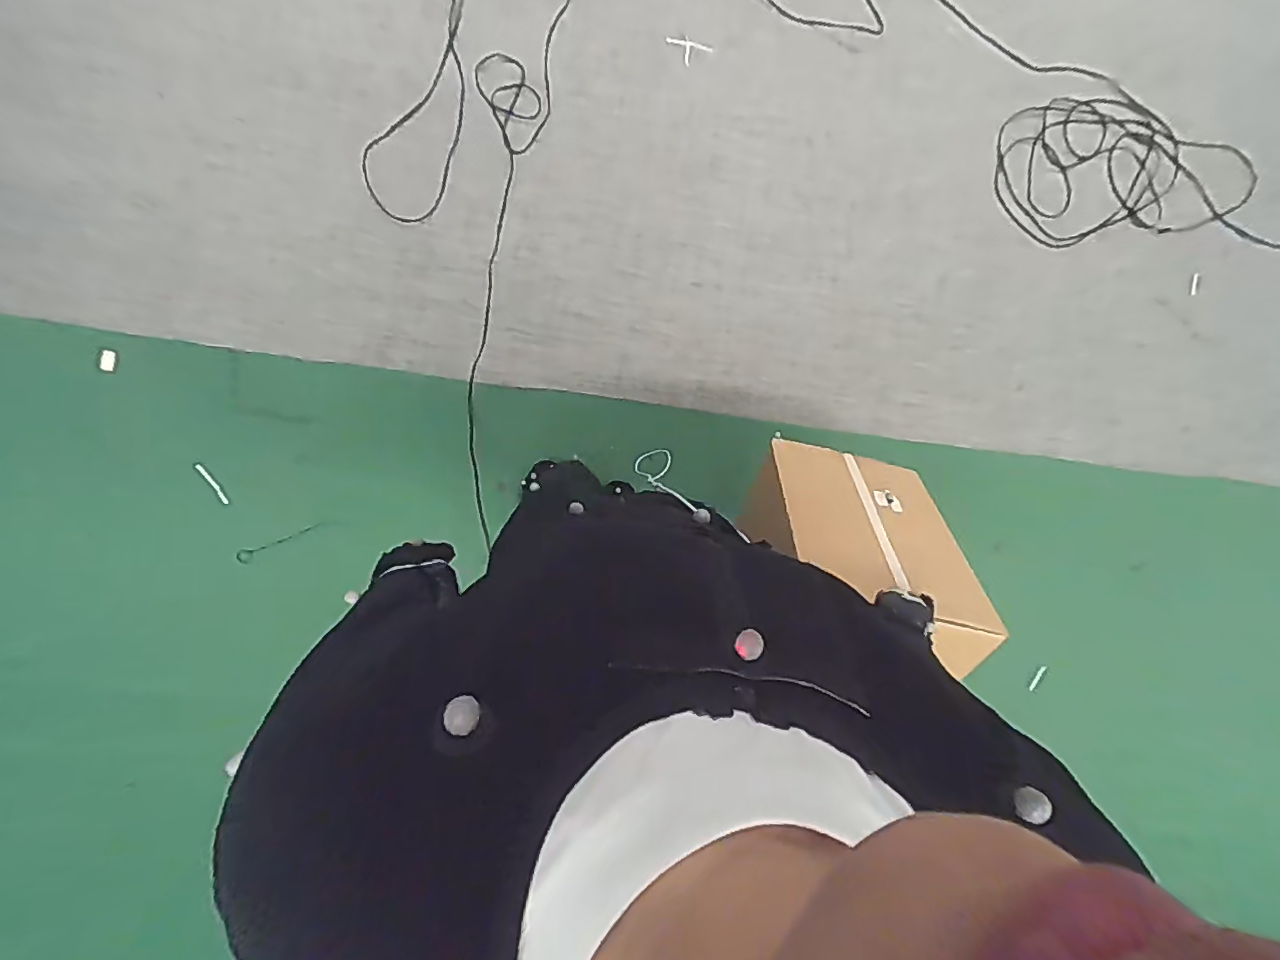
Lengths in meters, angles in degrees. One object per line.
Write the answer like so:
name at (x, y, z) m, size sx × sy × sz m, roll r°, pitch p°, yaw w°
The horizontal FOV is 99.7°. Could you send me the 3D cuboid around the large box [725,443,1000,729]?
large box at (0.362, 0.190, 1.024) m, size 0.320 × 0.408 × 0.320 m, roll 13°, pitch 127°, yaw -5°
